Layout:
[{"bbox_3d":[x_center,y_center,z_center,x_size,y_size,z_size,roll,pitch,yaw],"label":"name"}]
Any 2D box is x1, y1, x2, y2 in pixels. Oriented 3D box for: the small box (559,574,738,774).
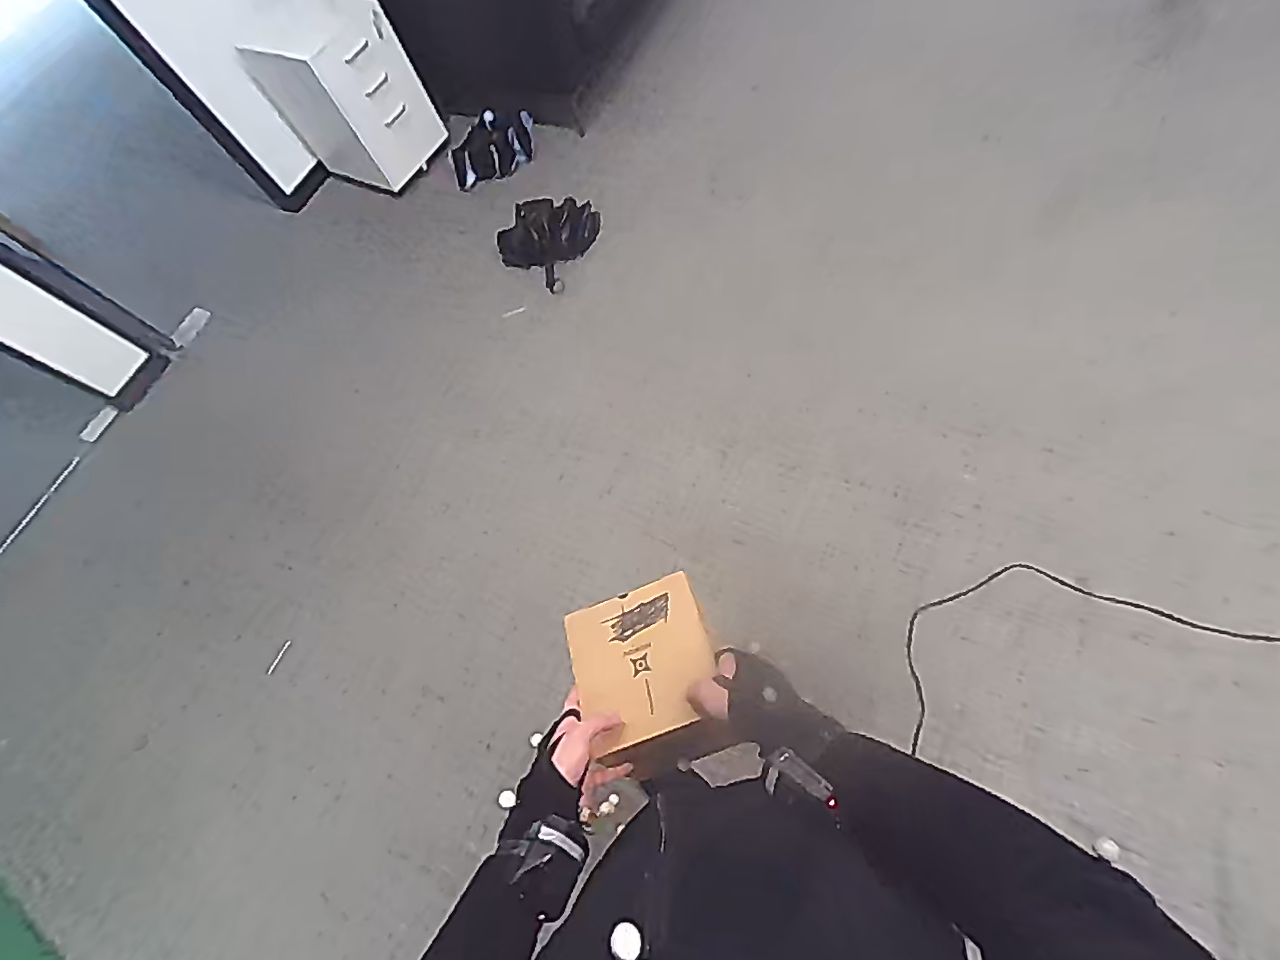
[{"bbox_3d":[0.012,0.256,0.701,0.168,0.176,0.179,-23,51,6],"label":"small box"}]
